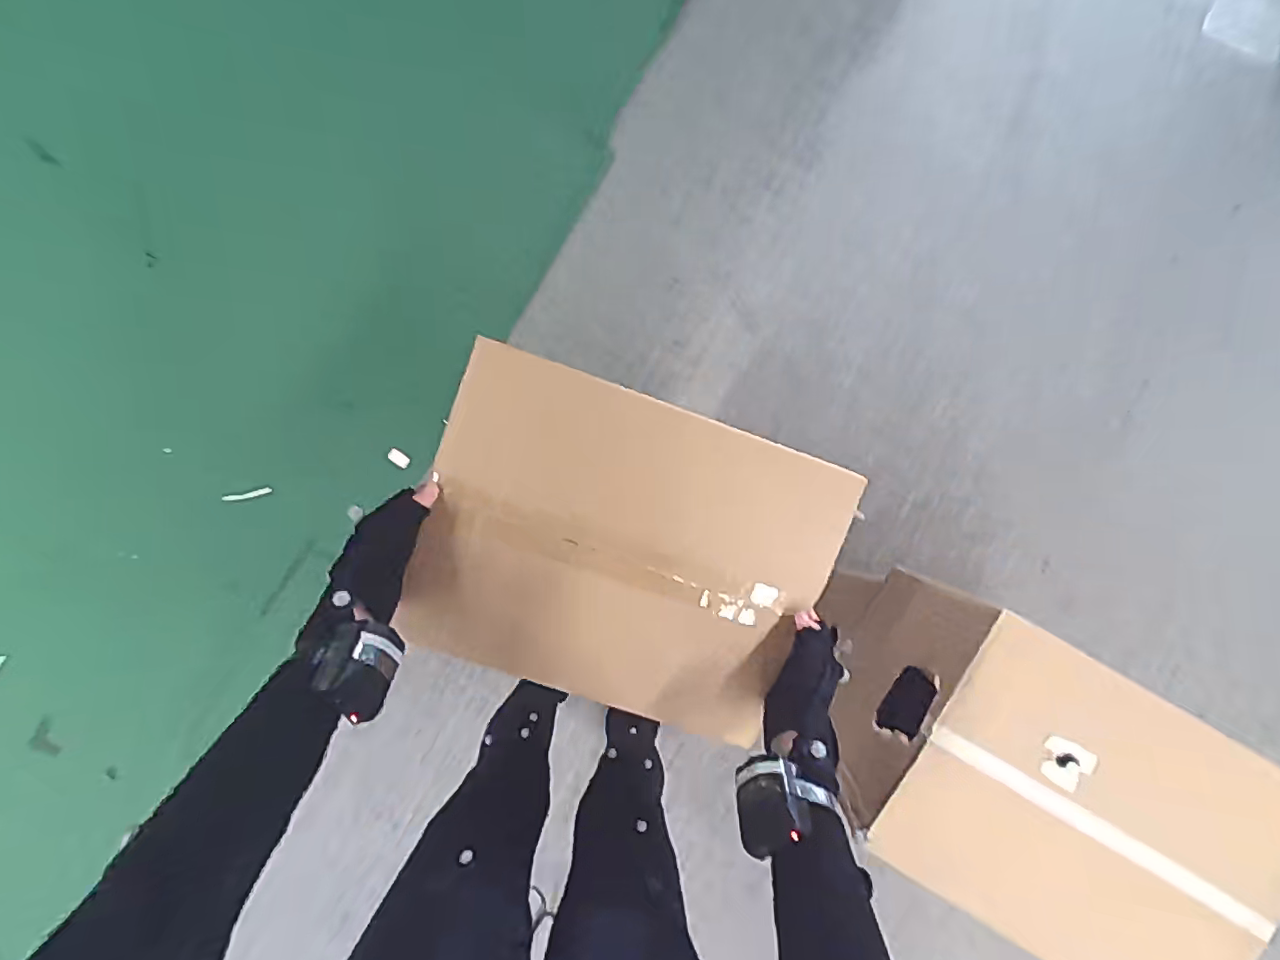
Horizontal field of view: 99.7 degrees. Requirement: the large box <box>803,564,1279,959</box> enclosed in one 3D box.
[{"bbox_3d":[0.499,0.362,0.738,0.408,0.320,0.320,30,92,5],"label":"large box"}]
